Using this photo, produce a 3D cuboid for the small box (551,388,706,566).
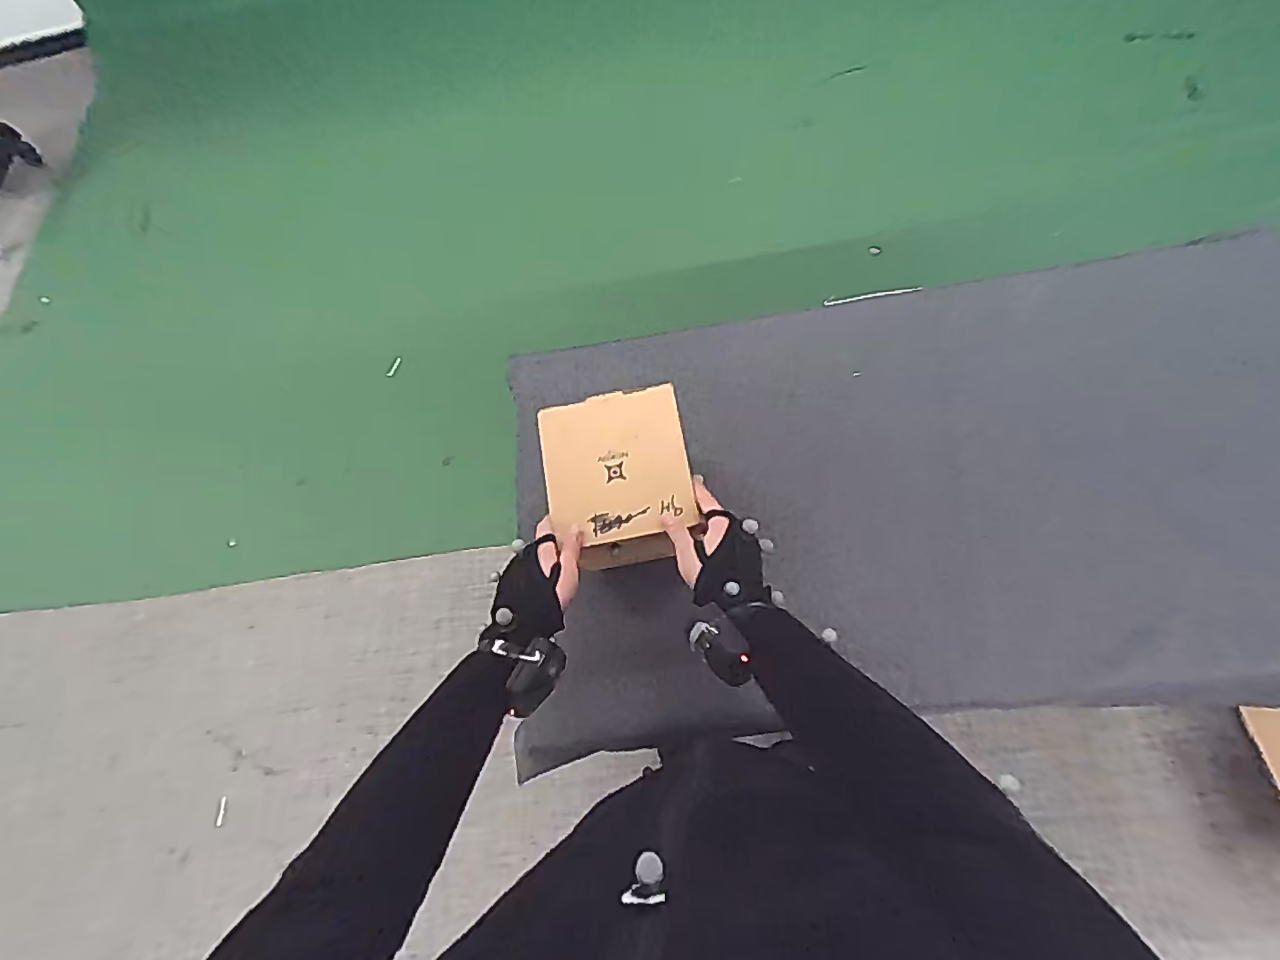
[{"bbox_3d":[-0.009,0.005,0.707,0.168,0.176,0.179,-10,73,6],"label":"small box"}]
